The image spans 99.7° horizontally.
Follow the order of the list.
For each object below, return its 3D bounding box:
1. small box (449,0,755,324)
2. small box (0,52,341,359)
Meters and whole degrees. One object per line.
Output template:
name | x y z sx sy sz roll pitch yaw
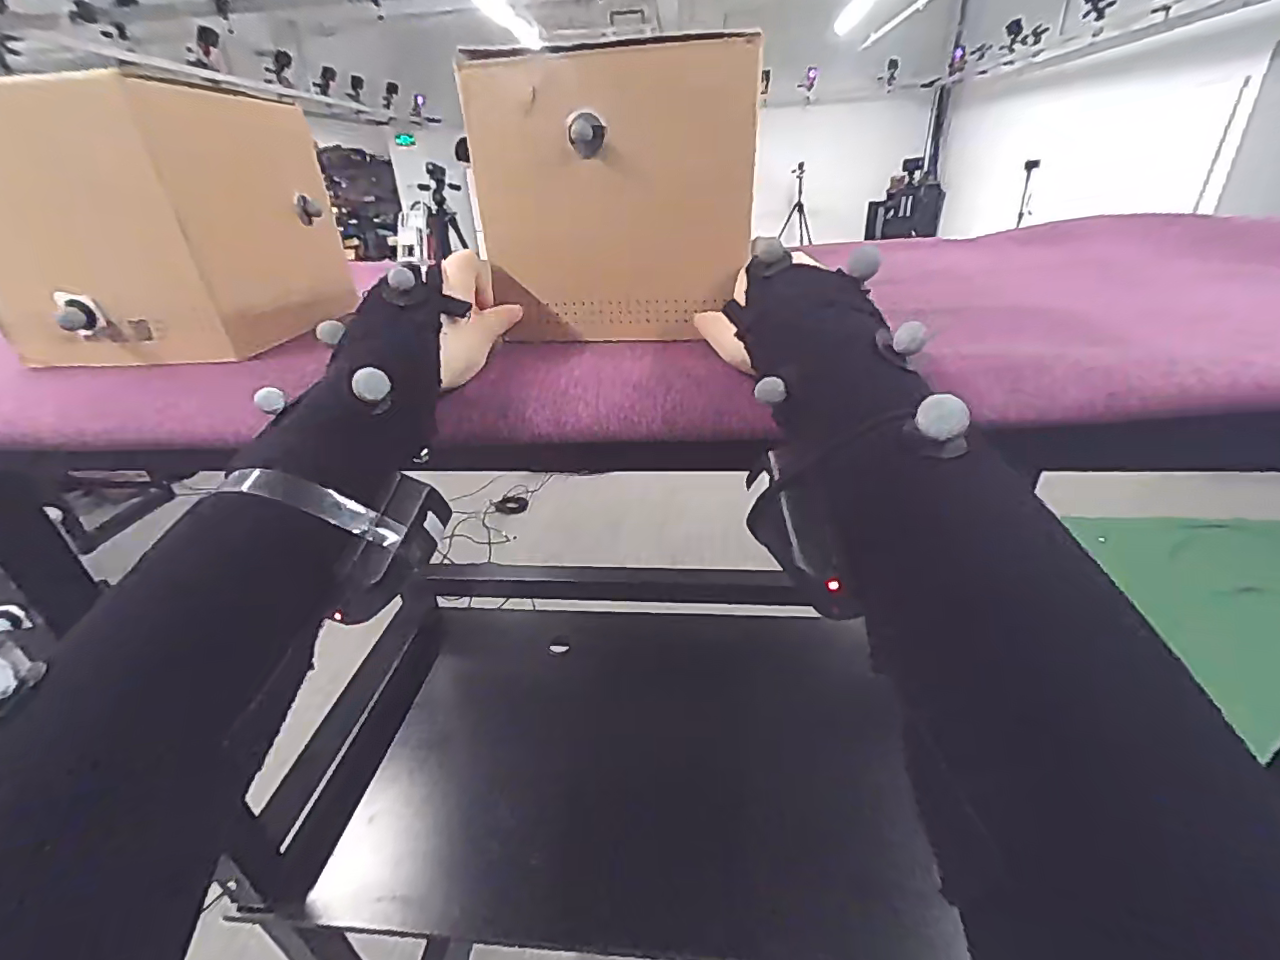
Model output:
small box | -0.009 -0.216 0.400 0.179 0.176 0.168 2 29 8
small box | -0.359 -0.198 0.408 0.168 0.176 0.179 -3 30 3
